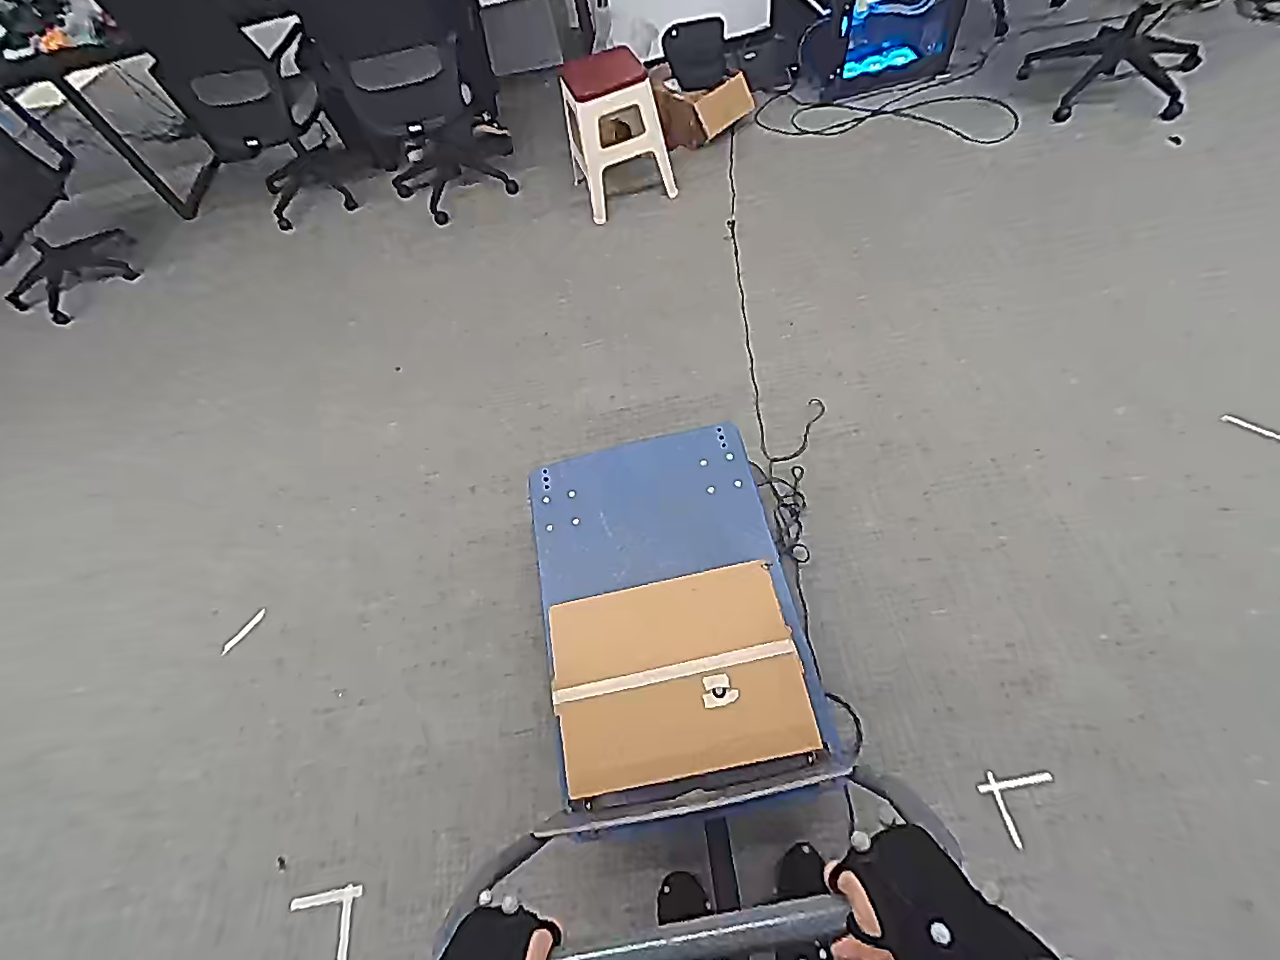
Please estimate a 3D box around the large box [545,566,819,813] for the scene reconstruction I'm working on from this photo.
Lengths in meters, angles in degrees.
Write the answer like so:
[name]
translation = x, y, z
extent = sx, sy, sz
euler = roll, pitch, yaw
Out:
[large box]
translation = 0.070, 0.397, 1.022
extent = 0.408, 0.320, 0.320
euler = -13, 64, 2
